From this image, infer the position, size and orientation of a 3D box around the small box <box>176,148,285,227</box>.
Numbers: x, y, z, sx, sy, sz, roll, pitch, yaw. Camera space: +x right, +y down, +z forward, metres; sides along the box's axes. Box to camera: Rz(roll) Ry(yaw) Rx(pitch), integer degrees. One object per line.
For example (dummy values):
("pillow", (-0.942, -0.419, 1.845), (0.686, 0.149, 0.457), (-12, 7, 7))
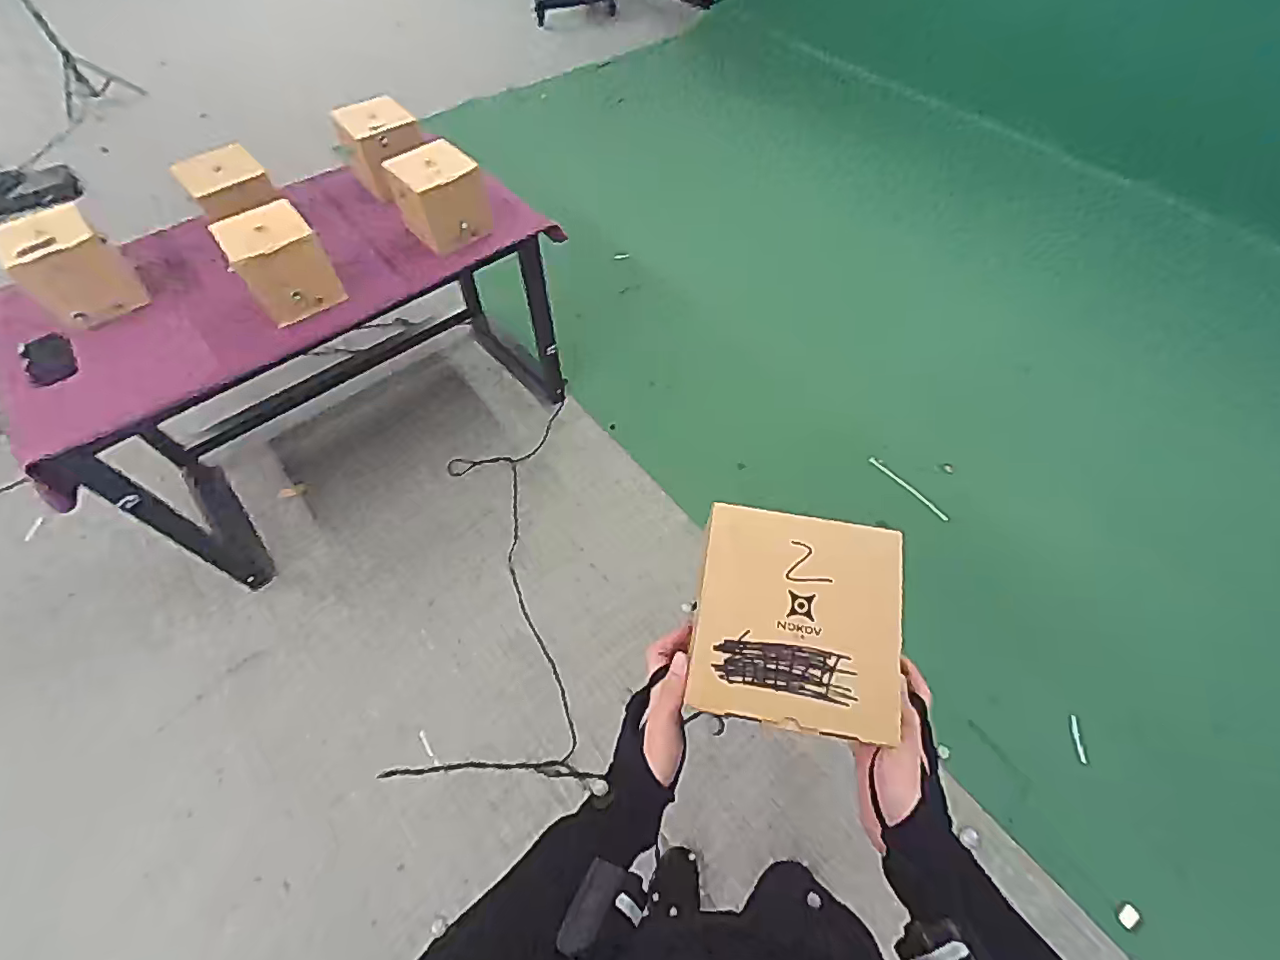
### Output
("small box", (-0.986, -0.681, 1.342), (0.168, 0.176, 0.179), (-36, 65, -21))

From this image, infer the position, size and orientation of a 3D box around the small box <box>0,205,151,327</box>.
("small box", (-1.245, -0.467, 1.198), (0.168, 0.176, 0.179), (-36, 64, -21))

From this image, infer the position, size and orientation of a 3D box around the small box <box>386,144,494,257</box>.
("small box", (-0.491, -0.693, 1.348), (0.168, 0.176, 0.179), (-37, 65, -20))

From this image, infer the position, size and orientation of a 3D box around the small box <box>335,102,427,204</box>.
("small box", (-0.689, -0.892, 1.479), (0.168, 0.176, 0.179), (-35, 63, -20))

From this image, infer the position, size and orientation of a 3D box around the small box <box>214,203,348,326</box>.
("small box", (-0.796, -0.479, 1.211), (0.168, 0.176, 0.179), (-34, 63, -20))
